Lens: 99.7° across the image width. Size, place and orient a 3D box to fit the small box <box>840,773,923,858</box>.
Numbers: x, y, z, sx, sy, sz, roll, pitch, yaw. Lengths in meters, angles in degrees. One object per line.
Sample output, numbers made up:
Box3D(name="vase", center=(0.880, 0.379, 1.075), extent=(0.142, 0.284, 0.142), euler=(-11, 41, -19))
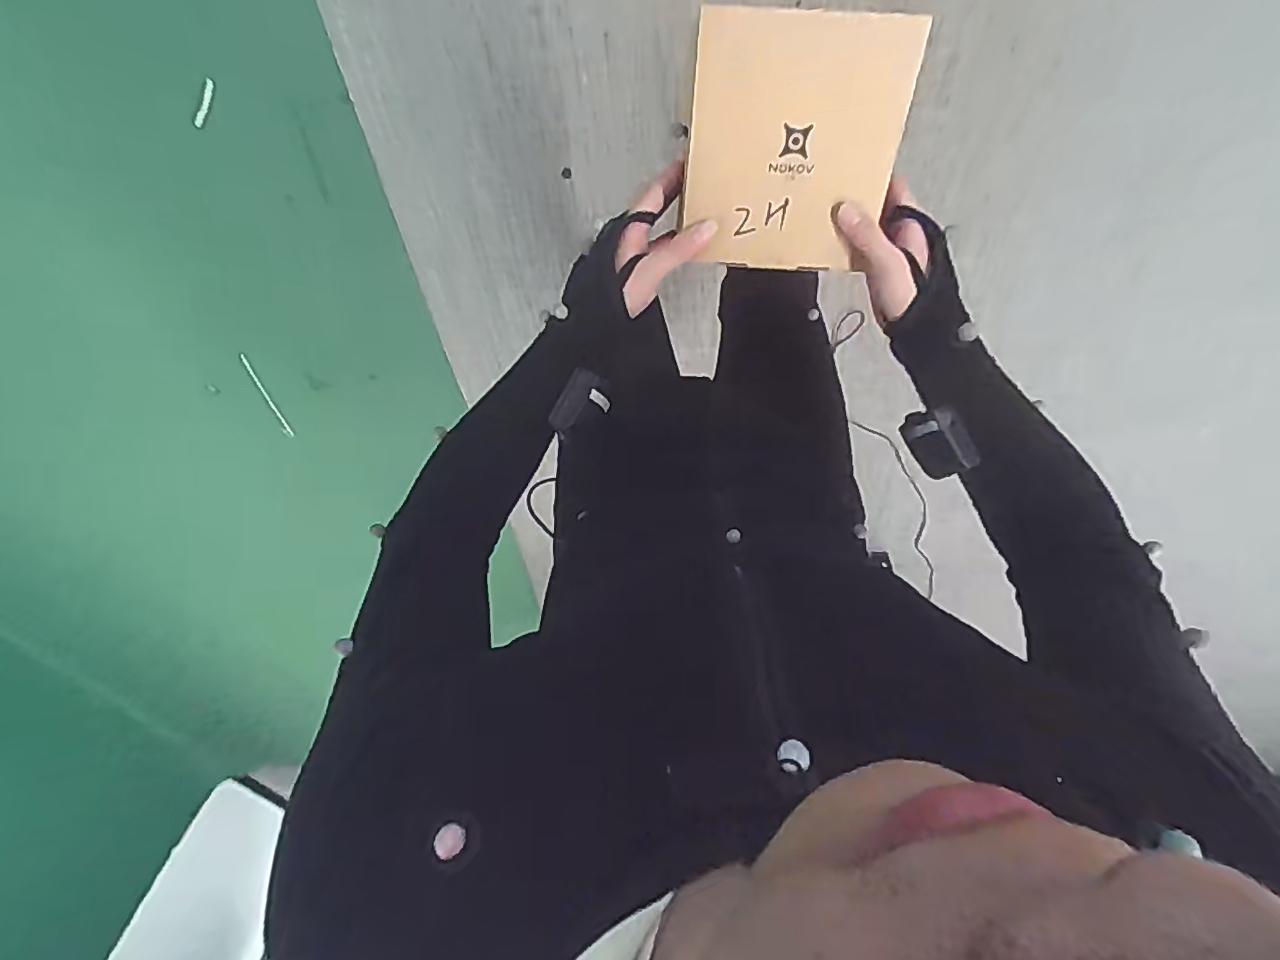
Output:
Box3D(name="small box", center=(0.668, 0.948, 1.517), extent=(0.168, 0.176, 0.179), euler=(-3, 131, 9))

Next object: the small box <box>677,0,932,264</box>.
Box3D(name="small box", center=(0.122, -0.309, 0.488), extent=(0.168, 0.176, 0.179), euler=(3, 125, 1))
